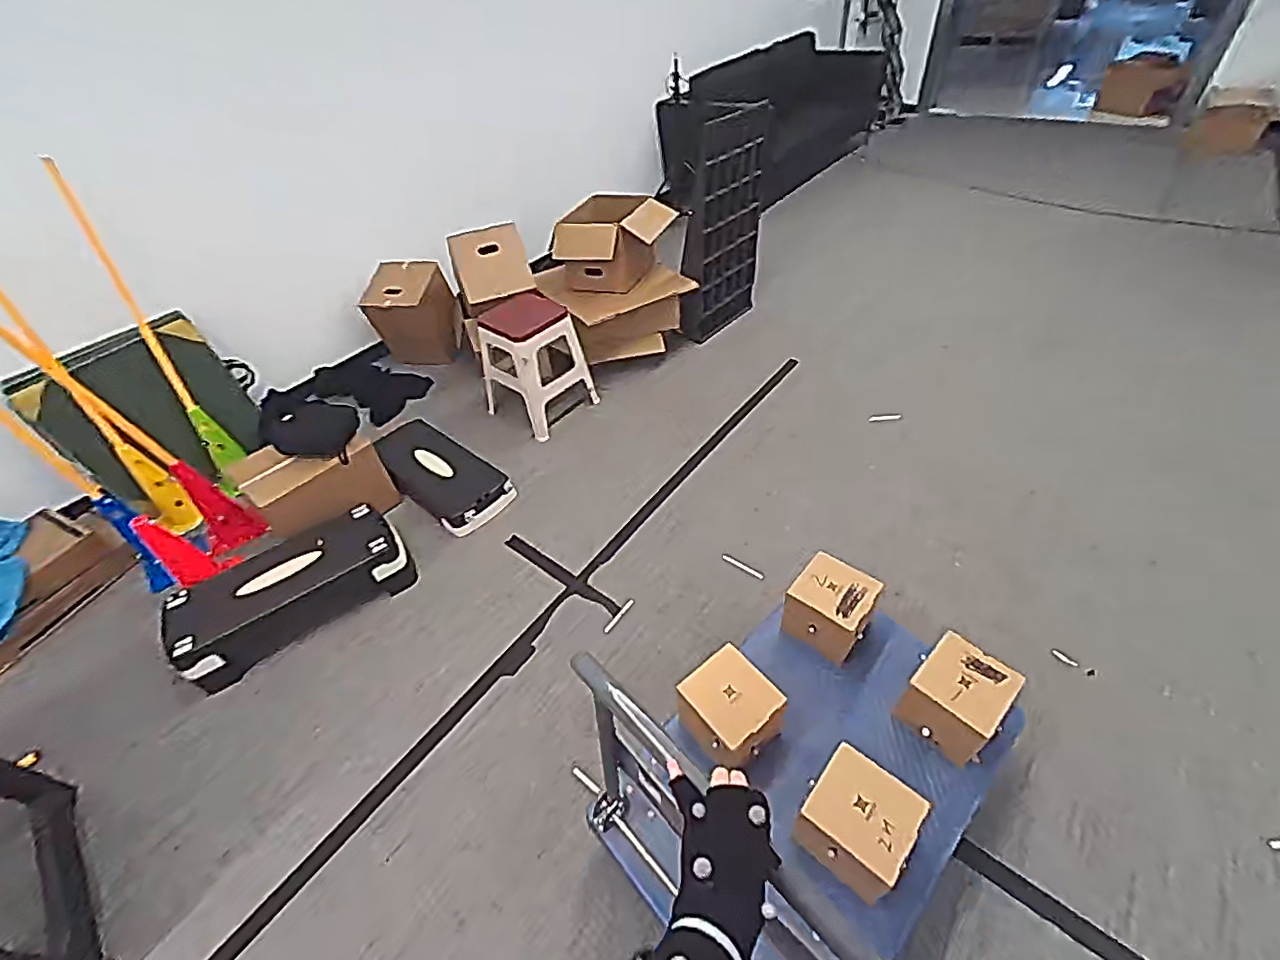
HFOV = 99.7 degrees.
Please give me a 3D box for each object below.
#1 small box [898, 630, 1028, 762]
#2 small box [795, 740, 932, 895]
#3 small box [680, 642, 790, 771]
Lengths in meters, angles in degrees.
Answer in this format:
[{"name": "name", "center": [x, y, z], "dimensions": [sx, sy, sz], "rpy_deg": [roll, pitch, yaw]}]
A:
[{"name": "small box", "center": [0.696, 0.473, 1.186], "dimensions": [0.179, 0.176, 0.168], "rpy_deg": [-36, 51, -25]}, {"name": "small box", "center": [0.418, 0.649, 1.037], "dimensions": [0.179, 0.176, 0.168], "rpy_deg": [30, 55, 32]}, {"name": "small box", "center": [0.204, 0.507, 1.208], "dimensions": [0.168, 0.176, 0.179], "rpy_deg": [-31, 51, -24]}]
